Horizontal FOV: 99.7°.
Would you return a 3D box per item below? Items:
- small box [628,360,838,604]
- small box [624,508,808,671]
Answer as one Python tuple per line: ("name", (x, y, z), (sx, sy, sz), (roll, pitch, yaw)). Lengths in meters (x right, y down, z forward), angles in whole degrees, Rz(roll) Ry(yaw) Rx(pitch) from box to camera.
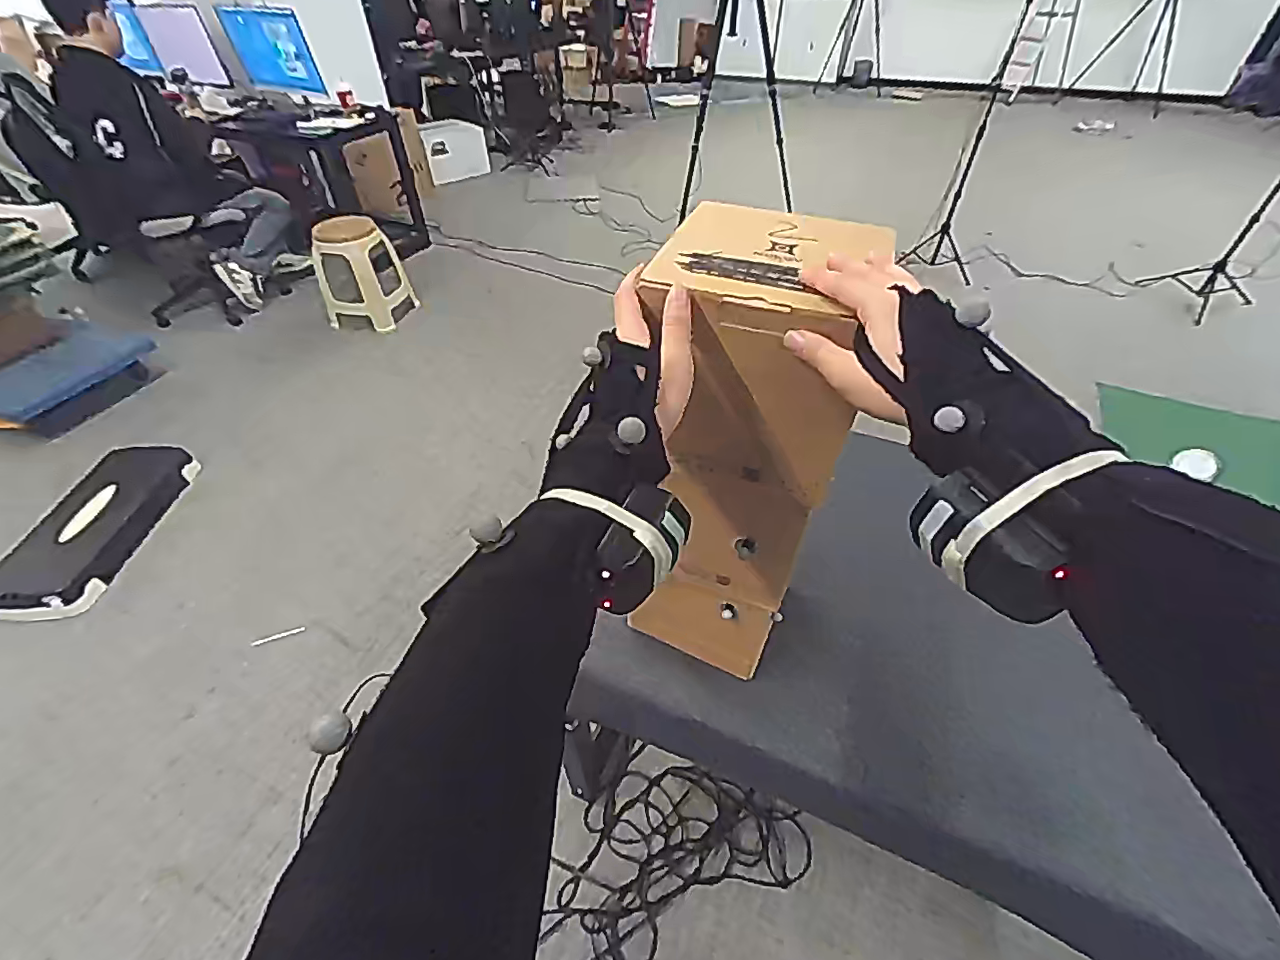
("small box", (0.095, 0.002, 0.575), (0.168, 0.176, 0.179), (17, 45, 14))
("small box", (0.093, 0.113, 0.693), (0.179, 0.176, 0.168), (20, 47, 19))
